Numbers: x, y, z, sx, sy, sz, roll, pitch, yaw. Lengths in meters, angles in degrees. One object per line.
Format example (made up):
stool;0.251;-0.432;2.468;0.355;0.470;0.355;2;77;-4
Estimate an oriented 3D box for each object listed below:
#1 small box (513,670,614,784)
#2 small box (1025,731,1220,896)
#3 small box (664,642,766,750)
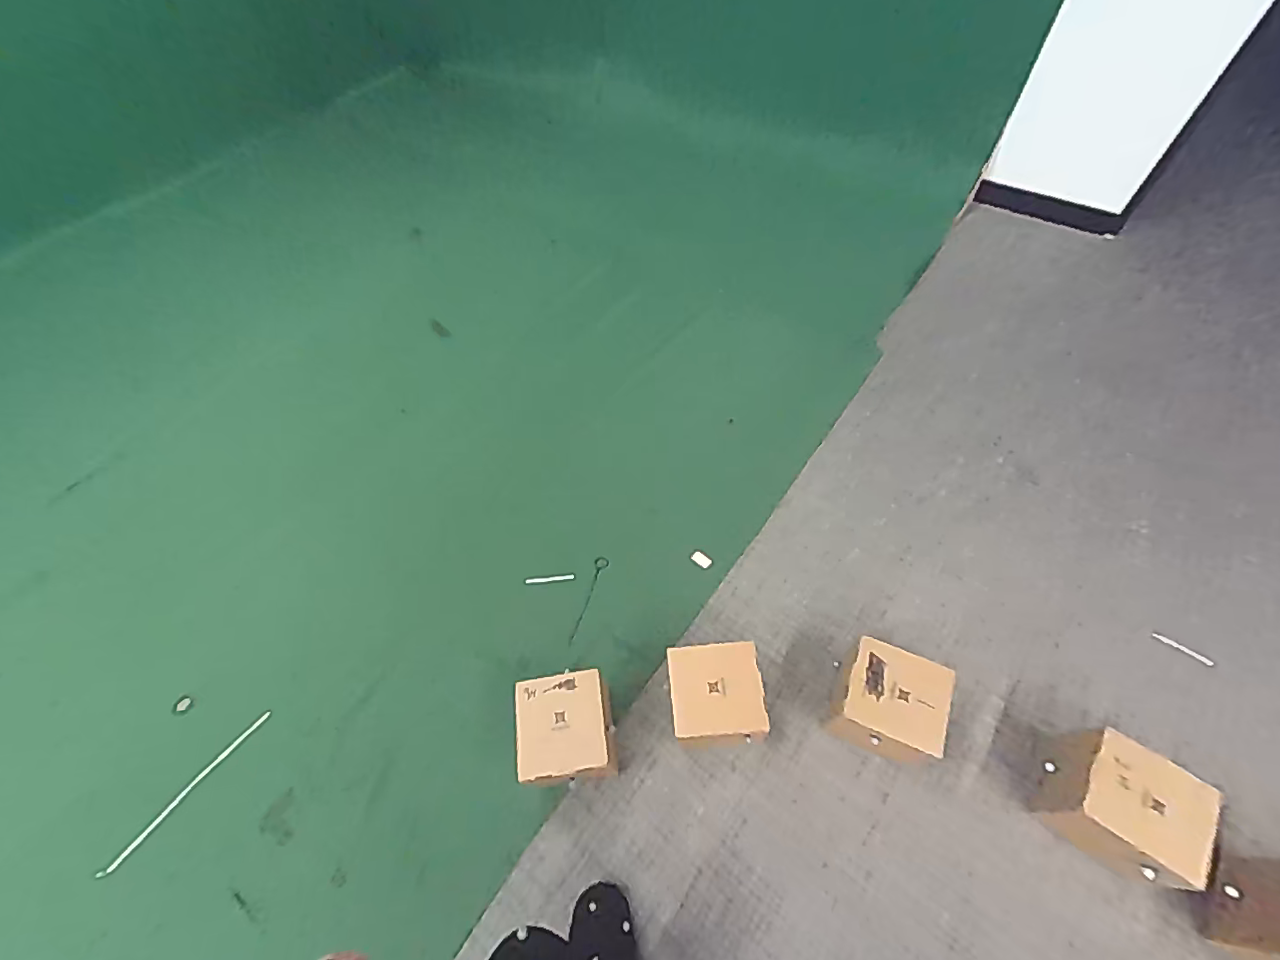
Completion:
small box;-0.148;0.495;1.071;0.168;0.176;0.179;-9;58;-2
small box;0.832;0.575;0.947;0.179;0.176;0.168;32;64;22
small box;0.144;0.439;1.089;0.179;0.176;0.168;-5;57;1
